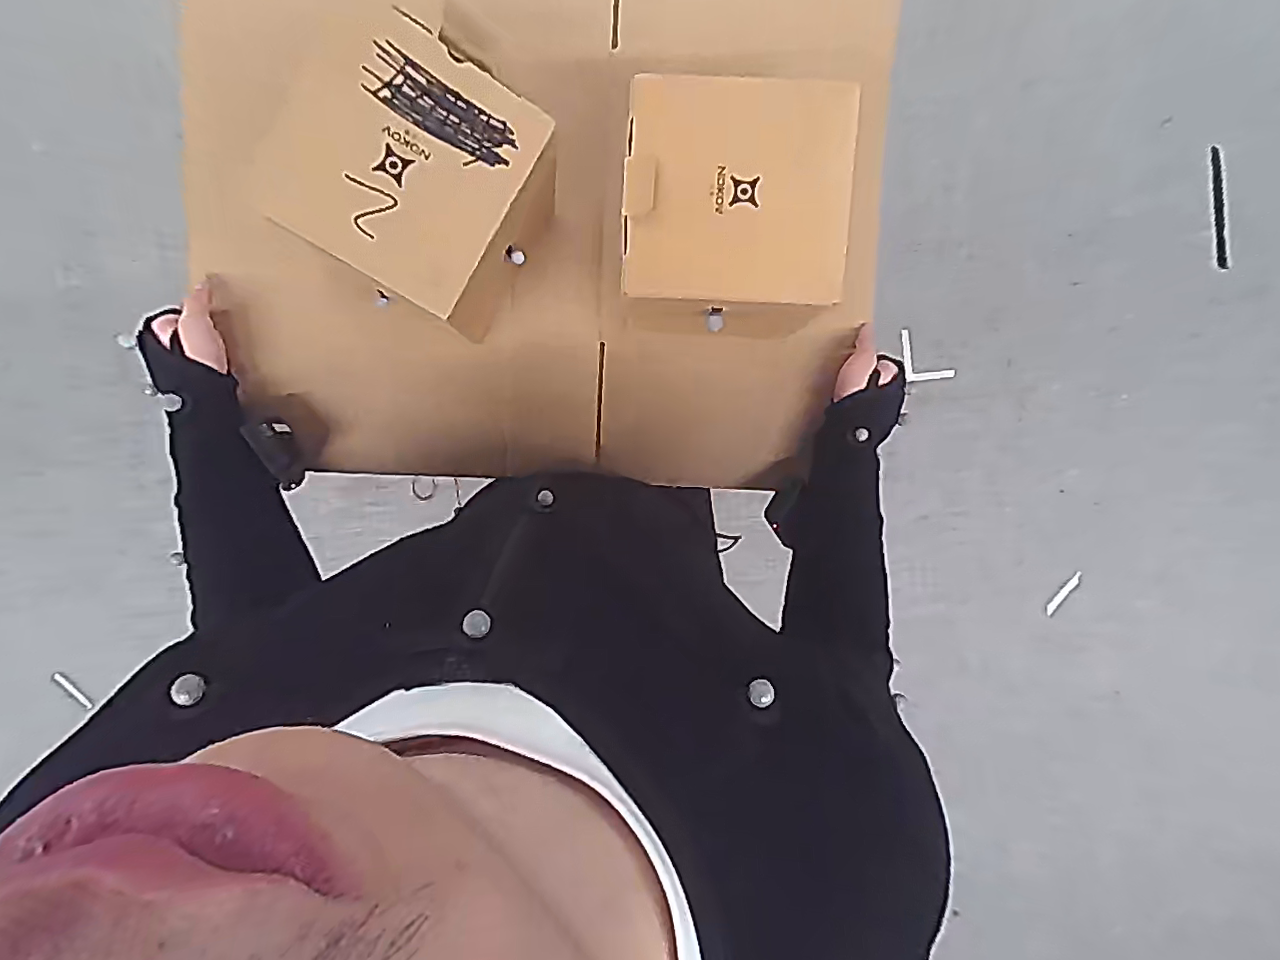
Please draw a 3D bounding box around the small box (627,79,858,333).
[{"bbox_3d":[0.082,-0.238,0.513,0.179,0.176,0.168,3,96,2],"label":"small box"}]
